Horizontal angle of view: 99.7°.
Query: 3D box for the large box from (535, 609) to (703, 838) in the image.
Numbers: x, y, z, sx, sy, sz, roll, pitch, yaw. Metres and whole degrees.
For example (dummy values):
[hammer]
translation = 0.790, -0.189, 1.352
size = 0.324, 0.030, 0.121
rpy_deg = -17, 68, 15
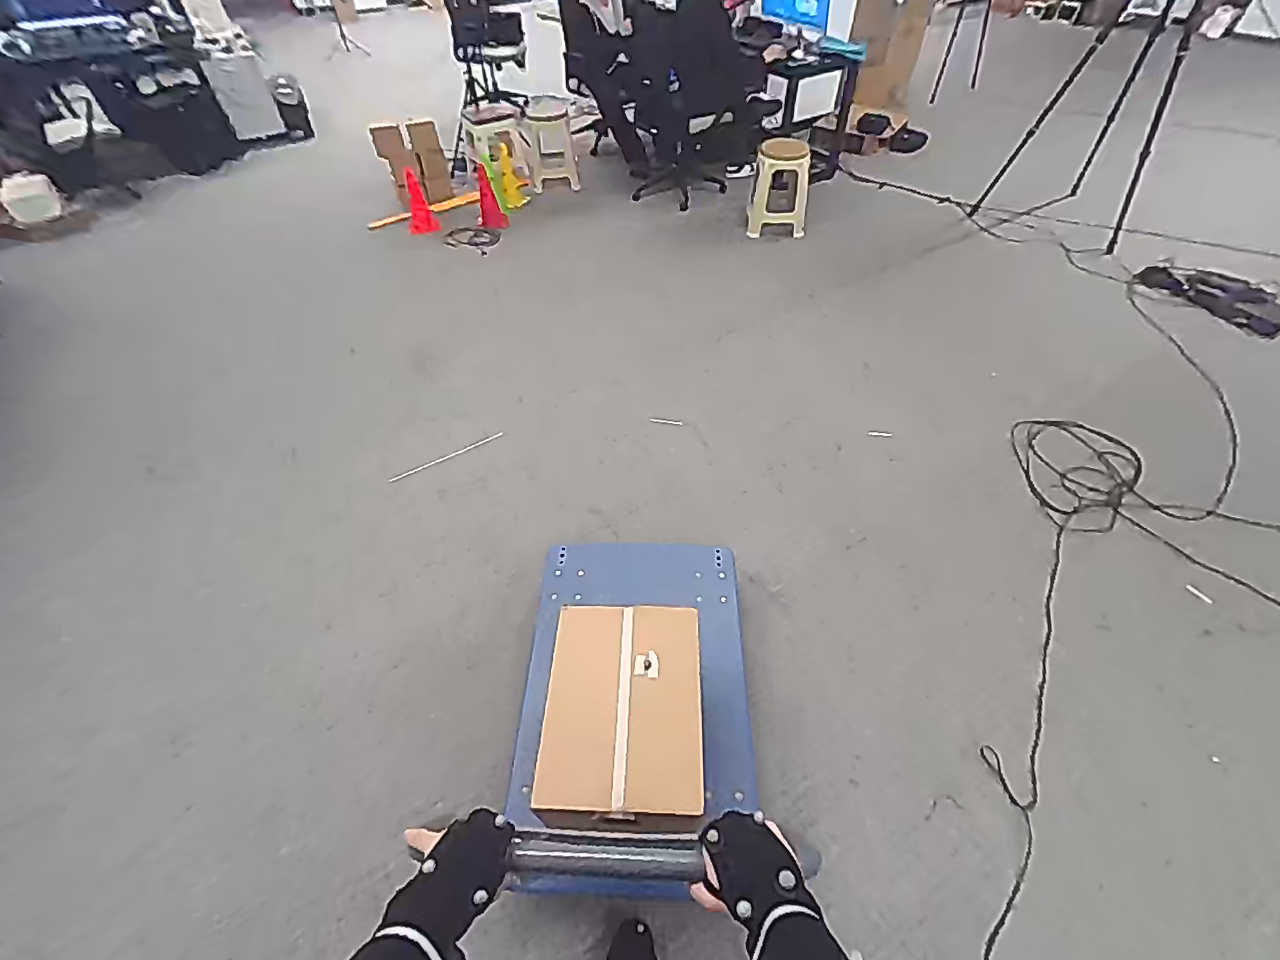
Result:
[large box]
translation = -0.029, 0.548, 1.222
size = 0.320, 0.320, 0.408
rpy_deg = 1, 48, 3
